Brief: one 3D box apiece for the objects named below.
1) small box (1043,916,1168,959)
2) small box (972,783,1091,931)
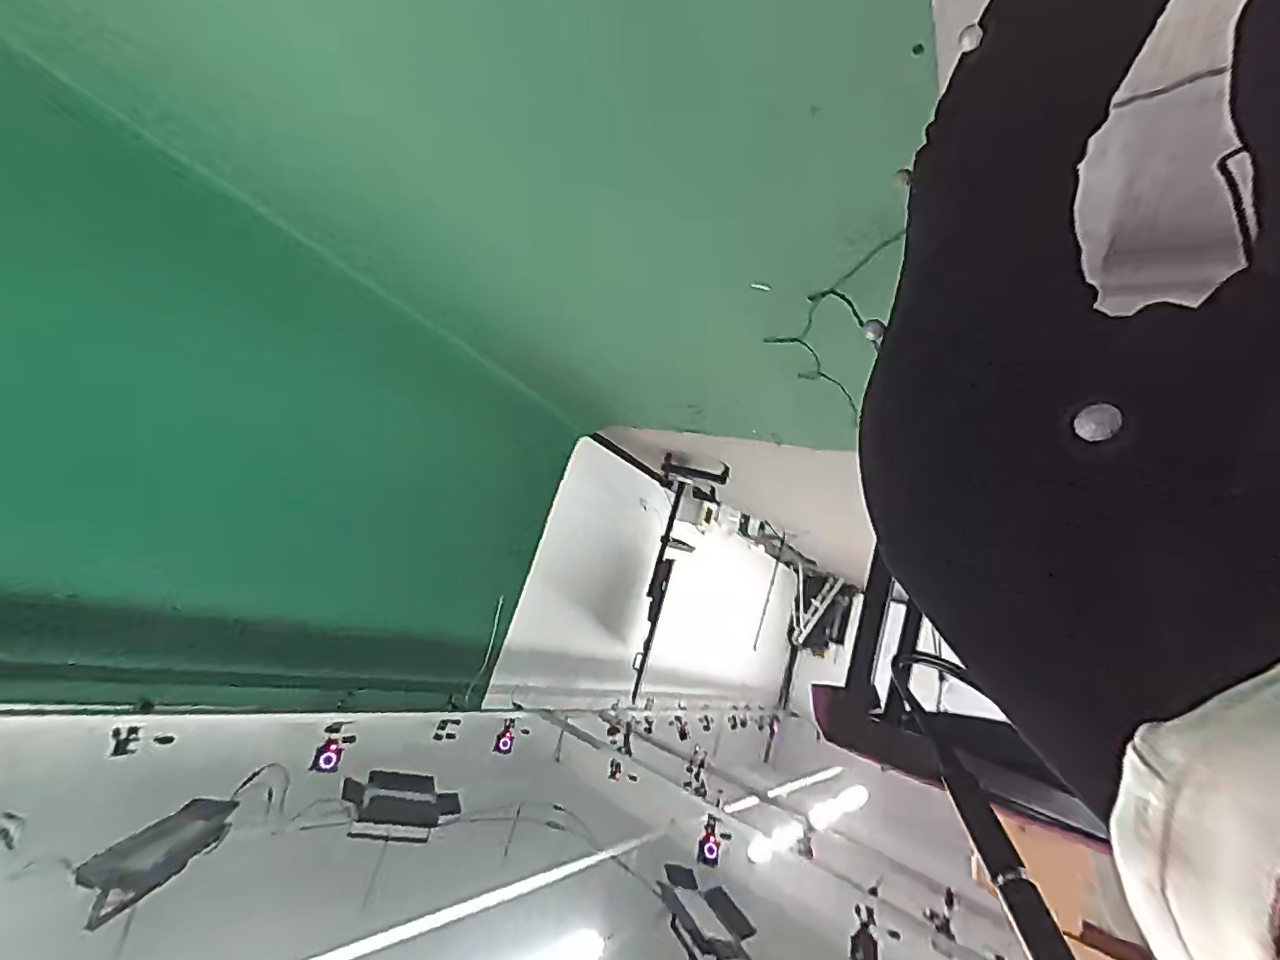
[{"bbox_3d":[0.826,0.902,0.955,0.179,0.176,0.168,10,167,36],"label":"small box"},{"bbox_3d":[0.771,0.730,1.074,0.168,0.176,0.179,11,168,34],"label":"small box"}]
